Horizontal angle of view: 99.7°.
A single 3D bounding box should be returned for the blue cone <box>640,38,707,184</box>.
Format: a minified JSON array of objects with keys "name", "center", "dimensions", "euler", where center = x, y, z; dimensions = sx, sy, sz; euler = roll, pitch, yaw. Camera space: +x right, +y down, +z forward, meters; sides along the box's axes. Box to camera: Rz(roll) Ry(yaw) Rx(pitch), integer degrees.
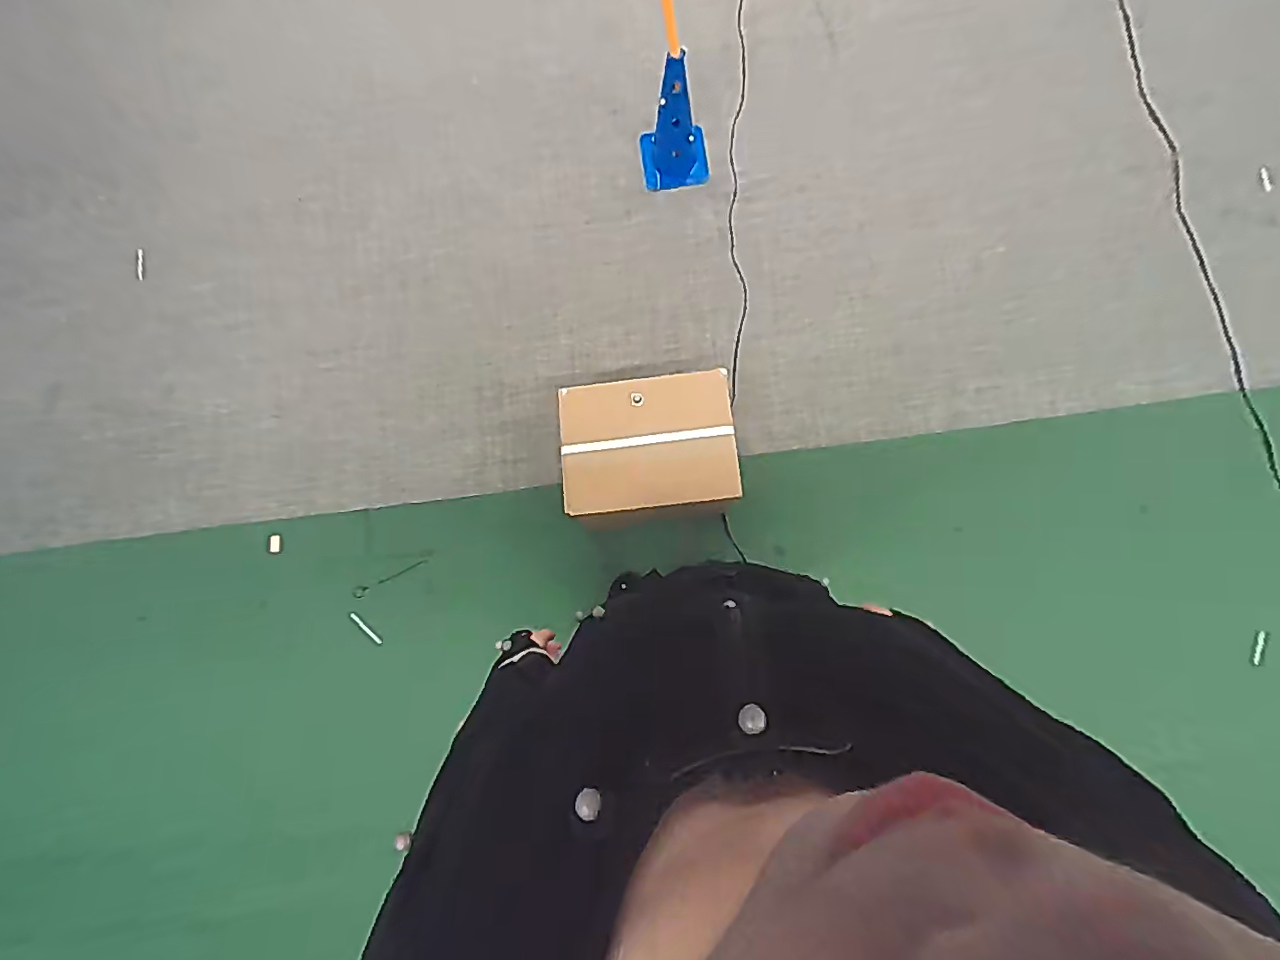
[{"name":"blue cone","center":[0.093,-1.034,1.506],"dimensions":[0.193,0.380,0.192],"euler":[-11,81,3]}]
